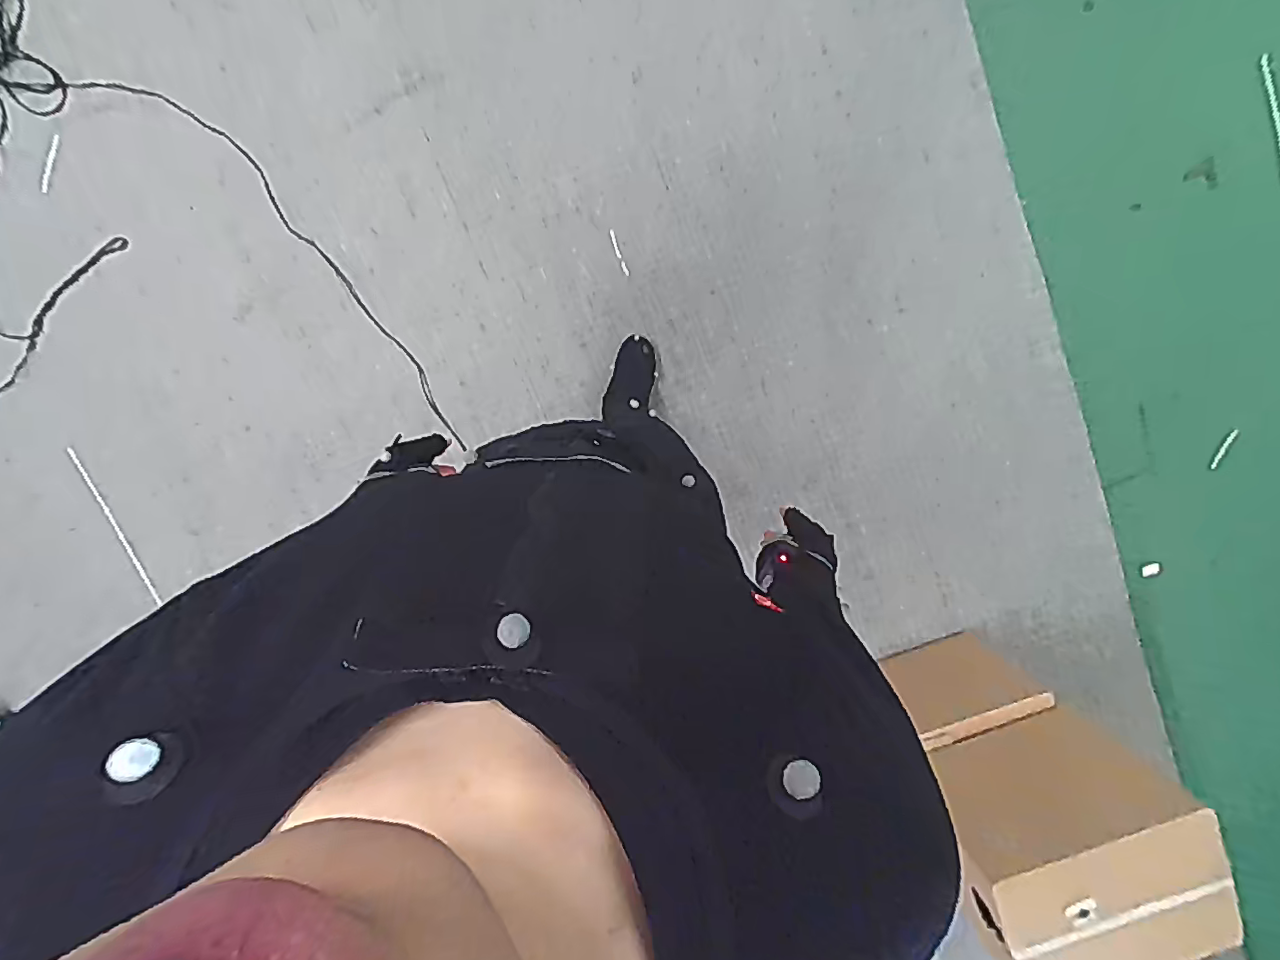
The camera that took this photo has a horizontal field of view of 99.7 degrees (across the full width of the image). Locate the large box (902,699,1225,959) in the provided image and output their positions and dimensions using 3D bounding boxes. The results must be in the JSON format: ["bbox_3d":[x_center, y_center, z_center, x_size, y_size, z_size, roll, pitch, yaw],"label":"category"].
[{"bbox_3d":[0.841,0.731,1.121,0.408,0.320,0.320,-21,101,3],"label":"large box"}]
